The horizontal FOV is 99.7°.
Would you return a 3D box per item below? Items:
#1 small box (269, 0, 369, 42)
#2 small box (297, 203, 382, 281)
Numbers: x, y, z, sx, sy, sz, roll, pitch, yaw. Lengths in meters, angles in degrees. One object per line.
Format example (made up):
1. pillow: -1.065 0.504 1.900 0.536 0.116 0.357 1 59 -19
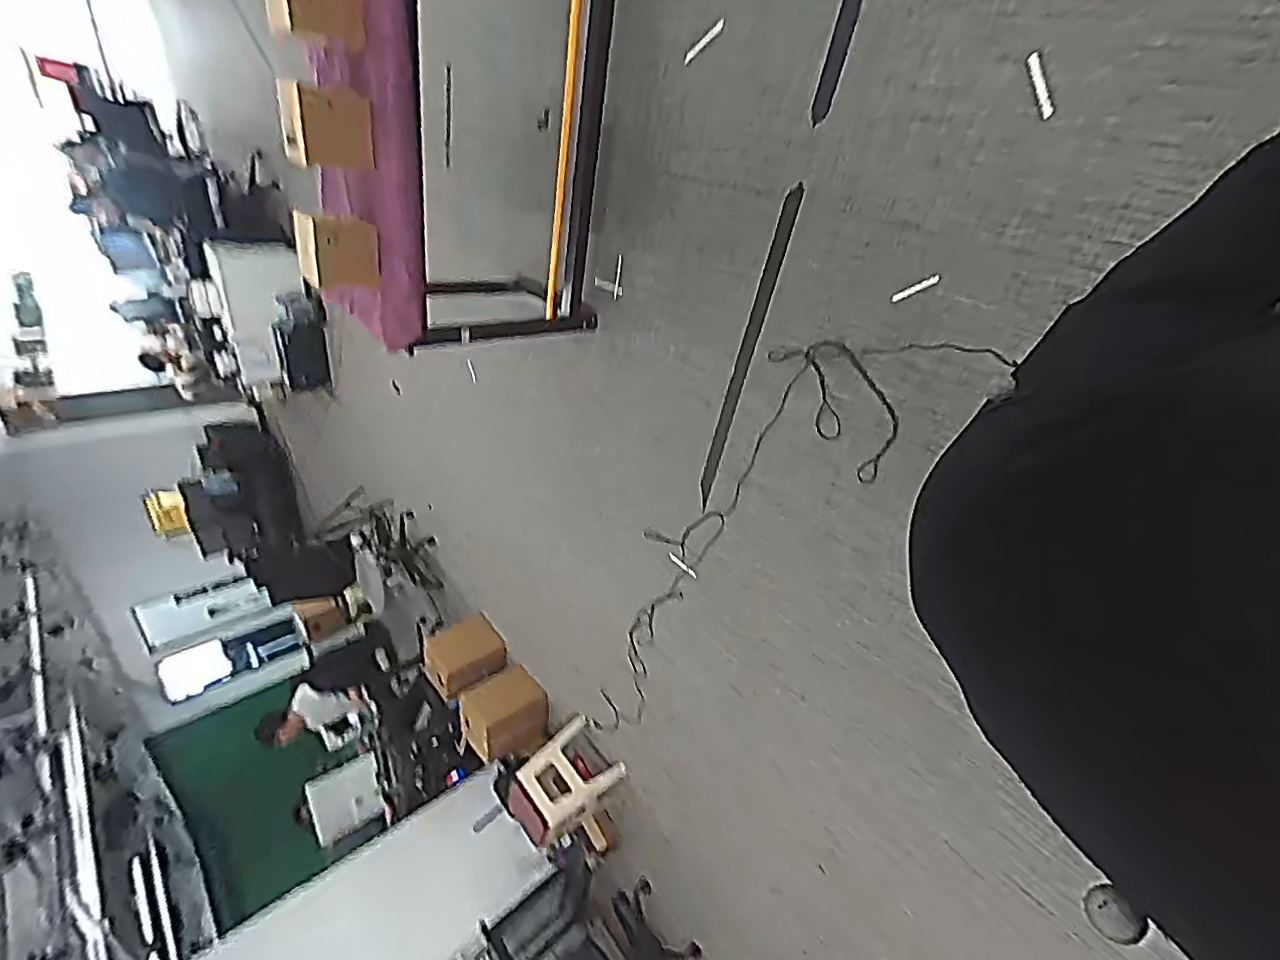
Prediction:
1. small box: -0.755 -1.157 1.262 0.168 0.176 0.179 34 128 35
2. small box: -0.861 -0.683 1.560 0.168 0.176 0.179 34 125 36
